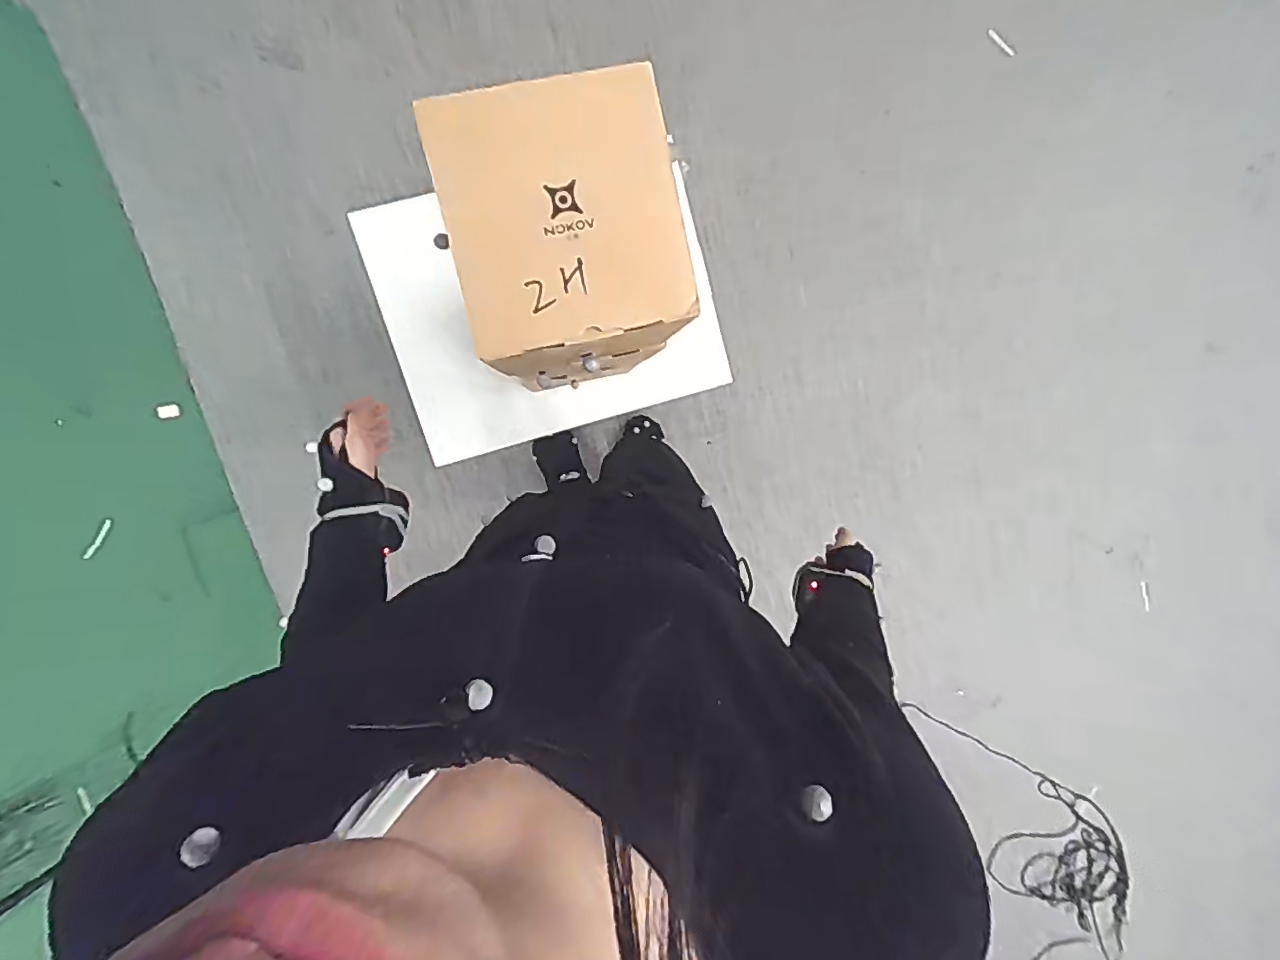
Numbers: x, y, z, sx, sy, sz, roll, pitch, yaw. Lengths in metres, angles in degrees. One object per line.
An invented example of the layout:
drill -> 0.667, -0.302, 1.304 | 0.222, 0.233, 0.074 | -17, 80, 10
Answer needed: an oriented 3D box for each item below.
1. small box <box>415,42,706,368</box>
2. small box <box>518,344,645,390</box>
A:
small box -> -0.059, -0.199, 0.441 | 0.168, 0.176, 0.179 | -13, 98, -5
small box -> -0.099, -0.232, 0.765 | 0.168, 0.176, 0.179 | -13, 98, -6
